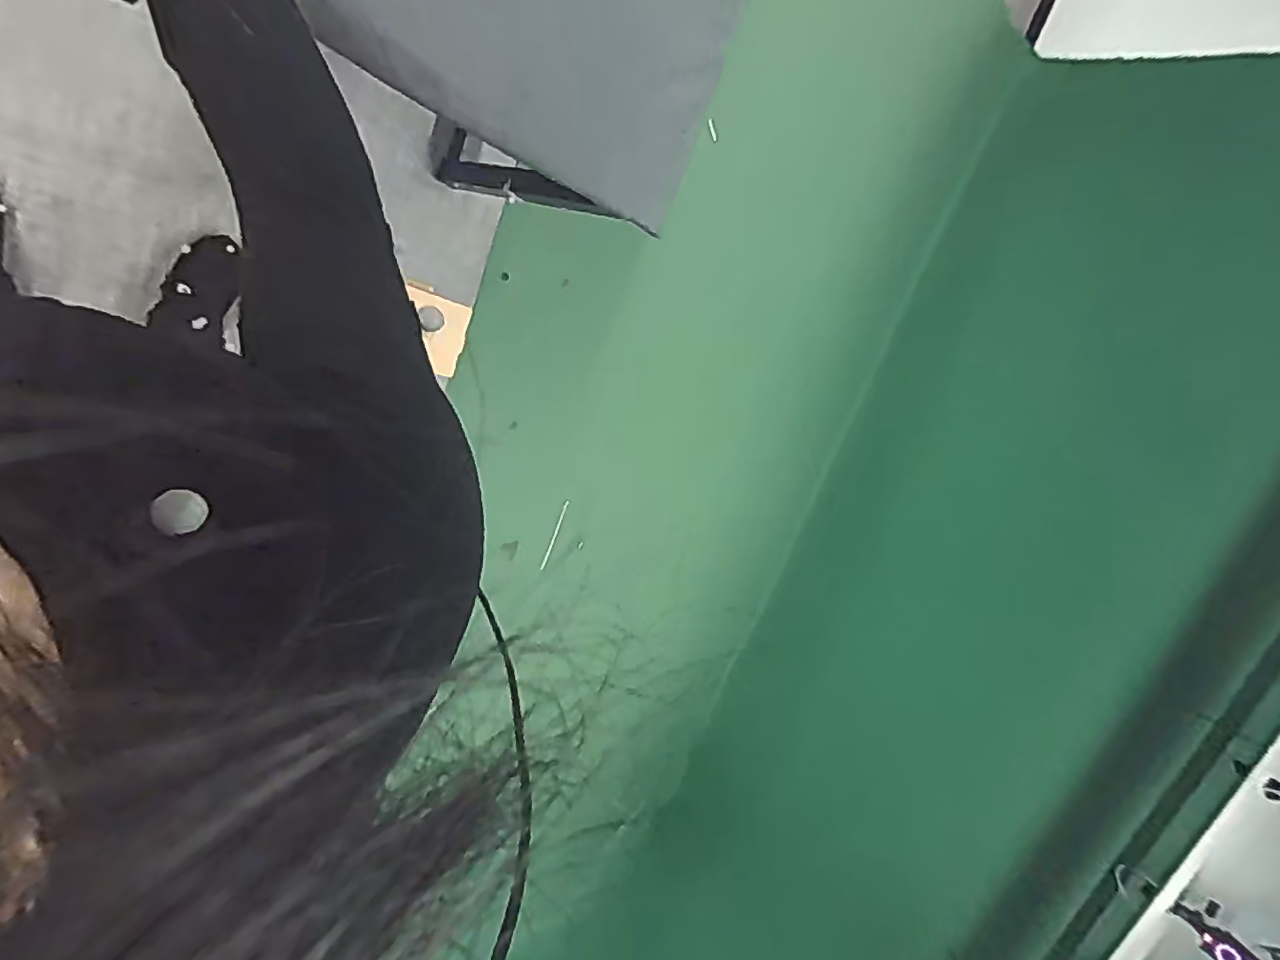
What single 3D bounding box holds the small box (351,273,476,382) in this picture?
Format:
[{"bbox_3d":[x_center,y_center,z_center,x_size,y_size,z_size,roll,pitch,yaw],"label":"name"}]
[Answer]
[{"bbox_3d":[-0.504,-0.339,1.201,0.179,0.176,0.168,8,109,-52],"label":"small box"}]
